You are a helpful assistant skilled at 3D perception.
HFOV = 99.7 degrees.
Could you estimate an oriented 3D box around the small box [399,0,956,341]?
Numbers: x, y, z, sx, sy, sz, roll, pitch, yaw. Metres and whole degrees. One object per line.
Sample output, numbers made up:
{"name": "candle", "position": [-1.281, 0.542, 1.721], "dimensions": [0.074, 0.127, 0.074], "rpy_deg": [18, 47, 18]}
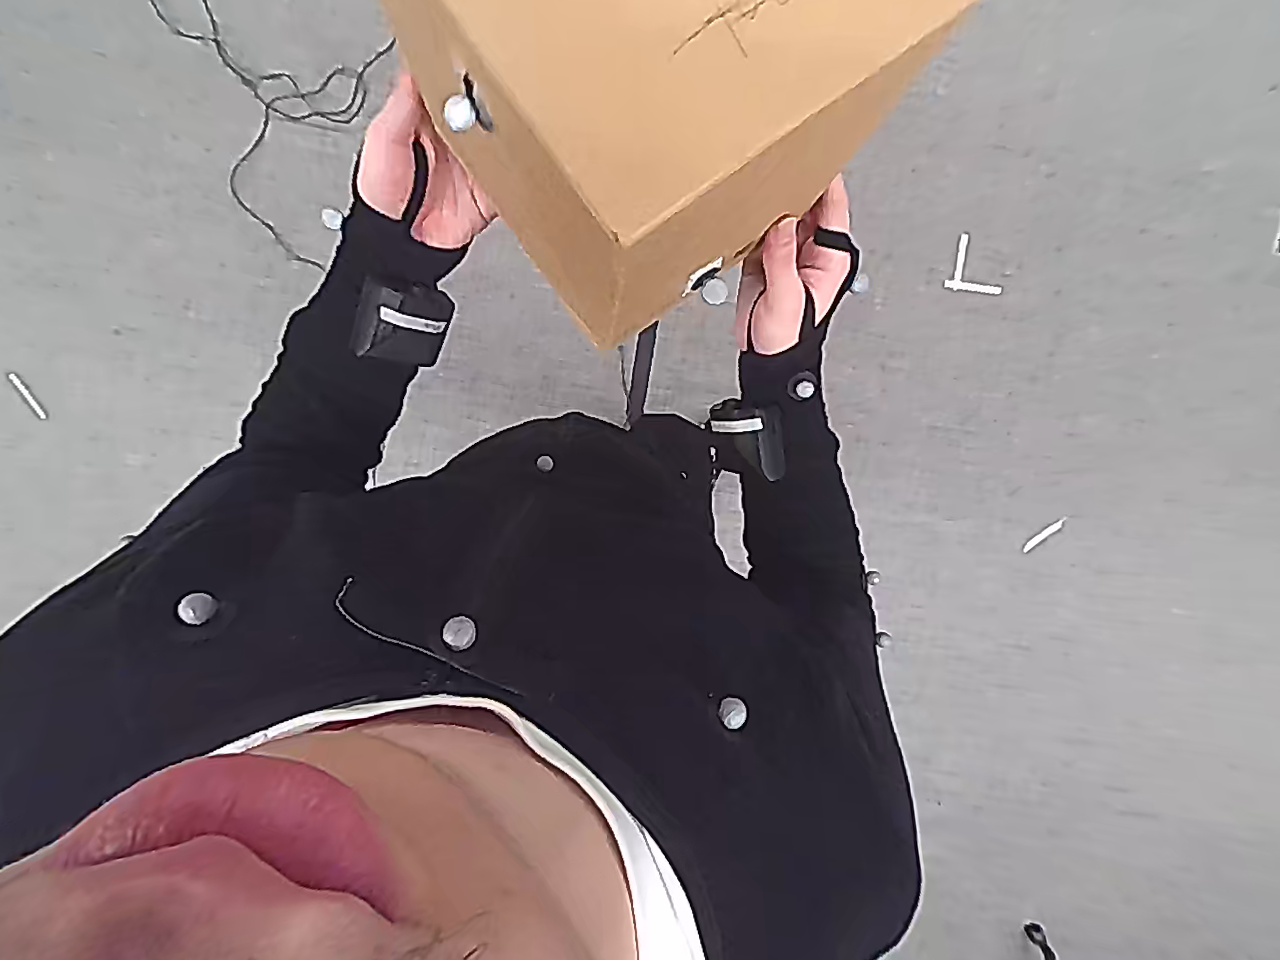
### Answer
{"name": "small box", "position": [-0.001, -0.200, 0.275], "dimensions": [0.168, 0.176, 0.179], "rpy_deg": [-38, 93, -3]}
